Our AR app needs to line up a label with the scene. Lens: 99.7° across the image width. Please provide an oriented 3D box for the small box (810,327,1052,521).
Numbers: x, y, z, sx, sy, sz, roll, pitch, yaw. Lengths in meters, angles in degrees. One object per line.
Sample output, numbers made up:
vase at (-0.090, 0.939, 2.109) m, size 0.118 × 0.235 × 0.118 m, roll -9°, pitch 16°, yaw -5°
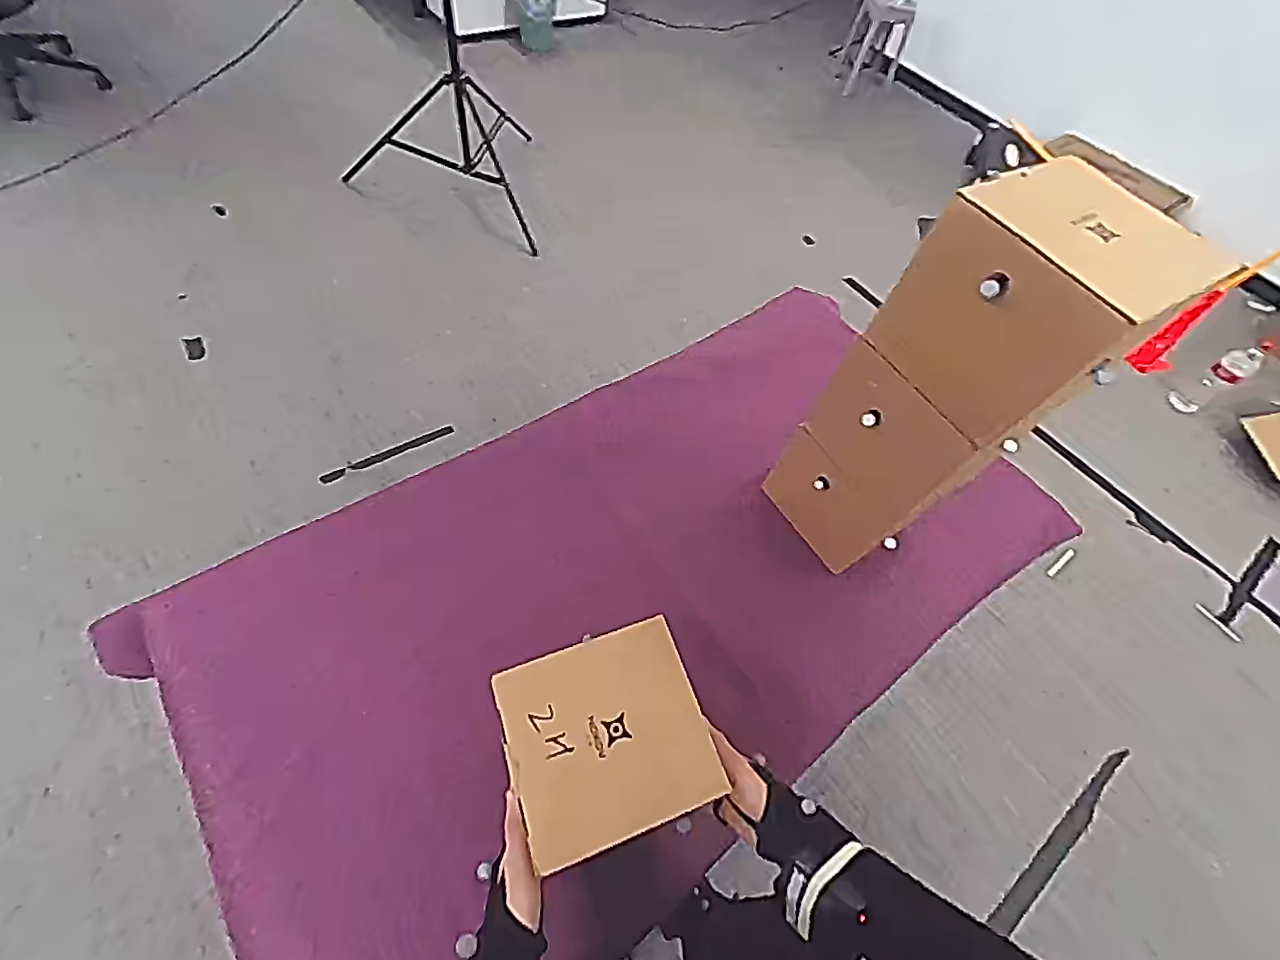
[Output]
small box at (0.339, -0.082, 0.652) m, size 0.168 × 0.176 × 0.179 m, roll -25°, pitch 64°, yaw -21°

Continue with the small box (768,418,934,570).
small box at (0.317, 0.000, 0.792) m, size 0.168 × 0.176 × 0.179 m, roll -27°, pitch 66°, yaw -22°

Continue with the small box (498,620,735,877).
small box at (-0.029, 0.265, 0.551) m, size 0.179 × 0.176 × 0.168 m, roll -16°, pitch 62°, yaw -12°

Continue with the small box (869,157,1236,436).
small box at (0.363, -0.163, 0.512) m, size 0.168 × 0.176 × 0.179 m, roll -25°, pitch 64°, yaw -21°
